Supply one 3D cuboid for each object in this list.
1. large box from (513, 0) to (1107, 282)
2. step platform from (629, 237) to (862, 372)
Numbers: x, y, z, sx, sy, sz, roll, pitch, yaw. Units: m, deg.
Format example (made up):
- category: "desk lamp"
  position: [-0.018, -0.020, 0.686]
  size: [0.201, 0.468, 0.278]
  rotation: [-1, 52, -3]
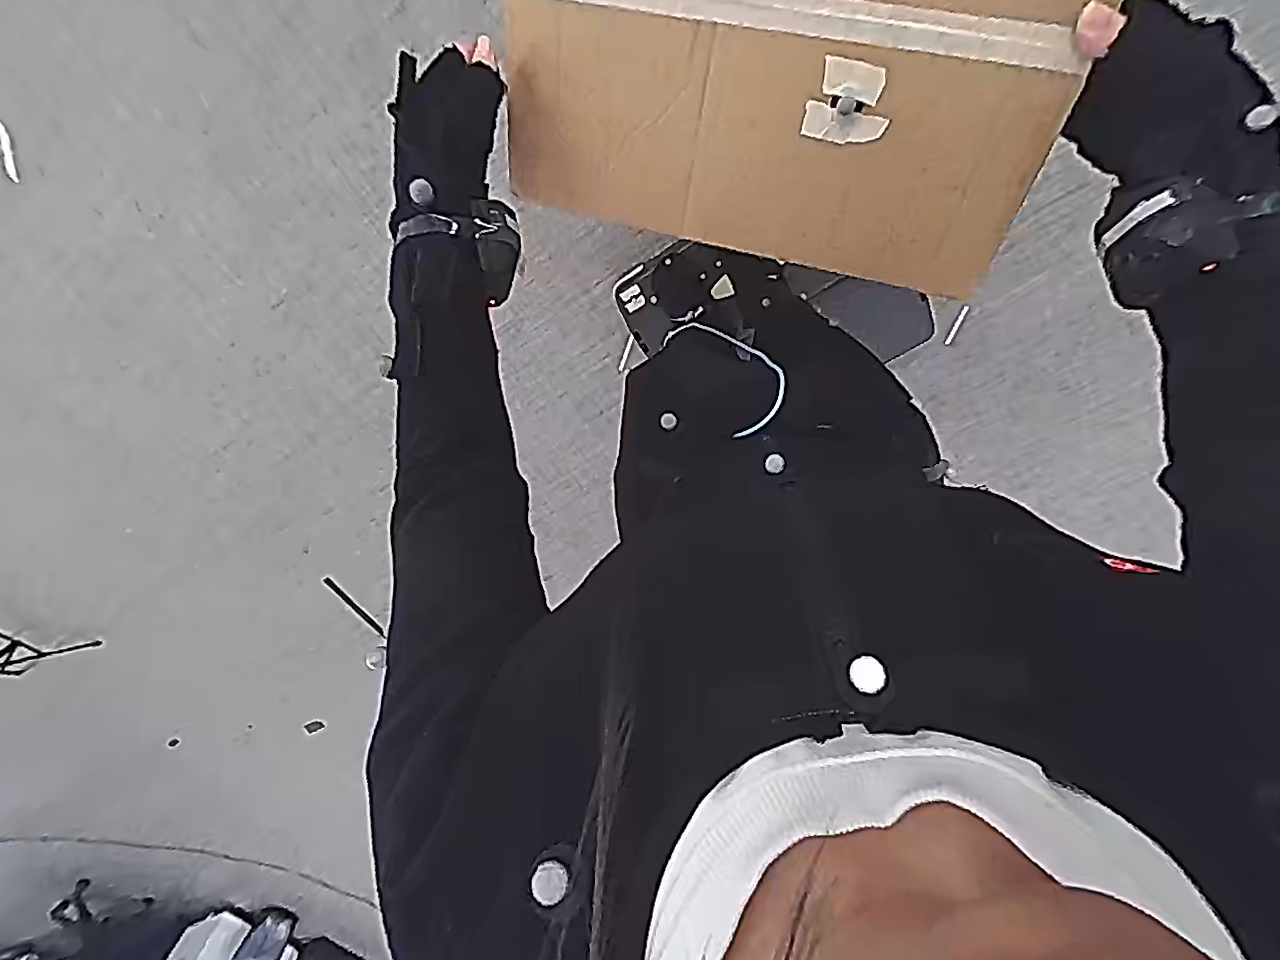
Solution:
- category: "large box"
  position: [0.135, -0.410, 0.488]
  size: [0.408, 0.320, 0.320]
  rotation: [16, 130, 10]
- category: "step platform"
  position: [0.309, -0.560, 1.336]
  size: [0.684, 0.204, 0.286]
  rotation: [-30, 112, 17]
